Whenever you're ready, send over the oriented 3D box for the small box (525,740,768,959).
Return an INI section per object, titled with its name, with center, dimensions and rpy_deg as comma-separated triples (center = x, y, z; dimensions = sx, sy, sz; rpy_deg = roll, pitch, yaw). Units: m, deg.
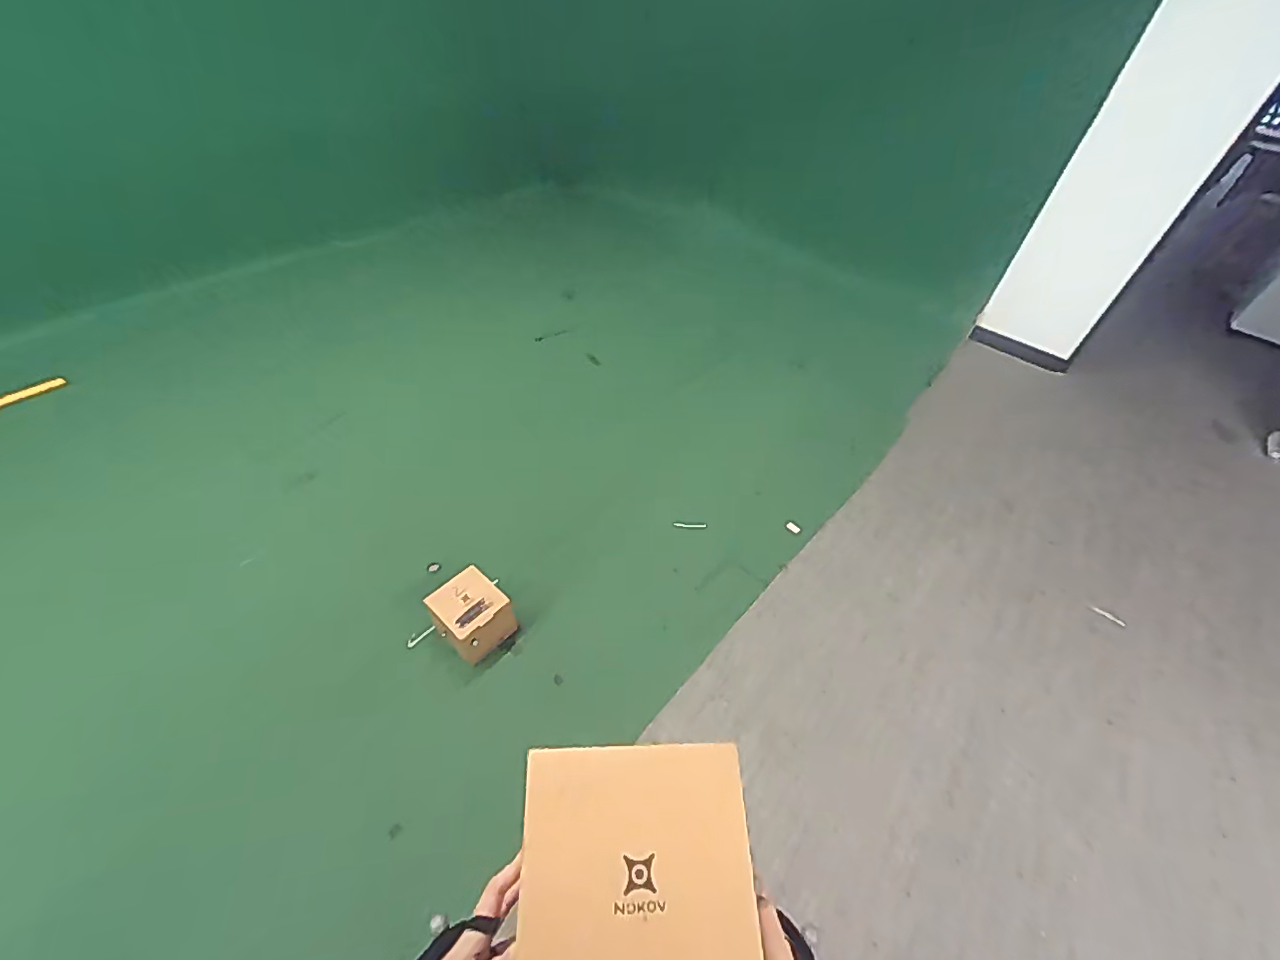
[small box]
center = -0.006, 0.327, 0.449
dimensions = 0.168, 0.176, 0.179
rpy_deg = 0, 57, -7
